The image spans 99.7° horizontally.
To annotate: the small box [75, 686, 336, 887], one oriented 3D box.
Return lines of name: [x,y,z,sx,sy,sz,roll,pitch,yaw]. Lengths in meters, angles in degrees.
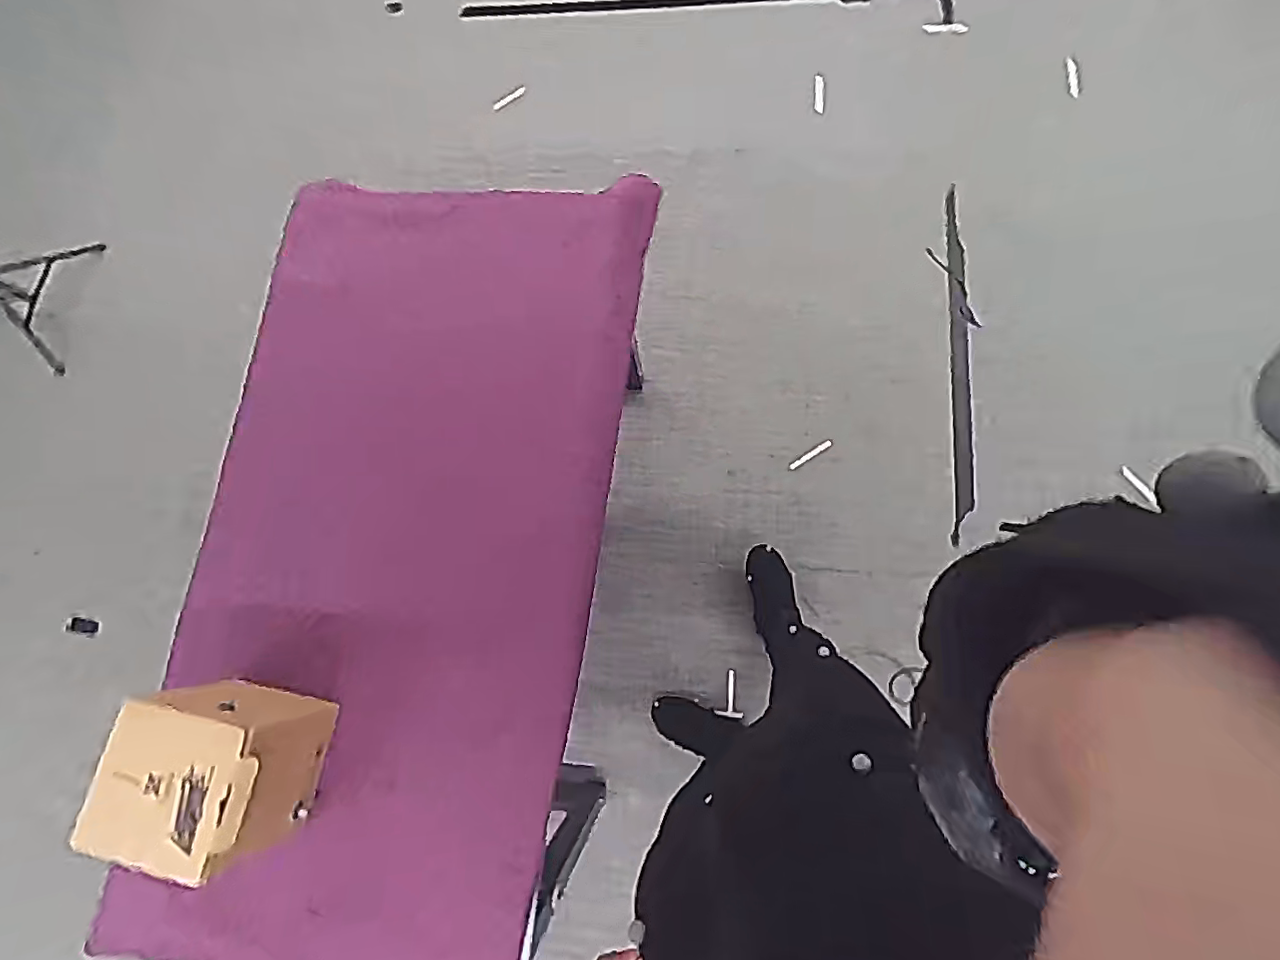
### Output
small box: [-0.535,0.374,0.695,0.179,0.176,0.168,9,77,8]
